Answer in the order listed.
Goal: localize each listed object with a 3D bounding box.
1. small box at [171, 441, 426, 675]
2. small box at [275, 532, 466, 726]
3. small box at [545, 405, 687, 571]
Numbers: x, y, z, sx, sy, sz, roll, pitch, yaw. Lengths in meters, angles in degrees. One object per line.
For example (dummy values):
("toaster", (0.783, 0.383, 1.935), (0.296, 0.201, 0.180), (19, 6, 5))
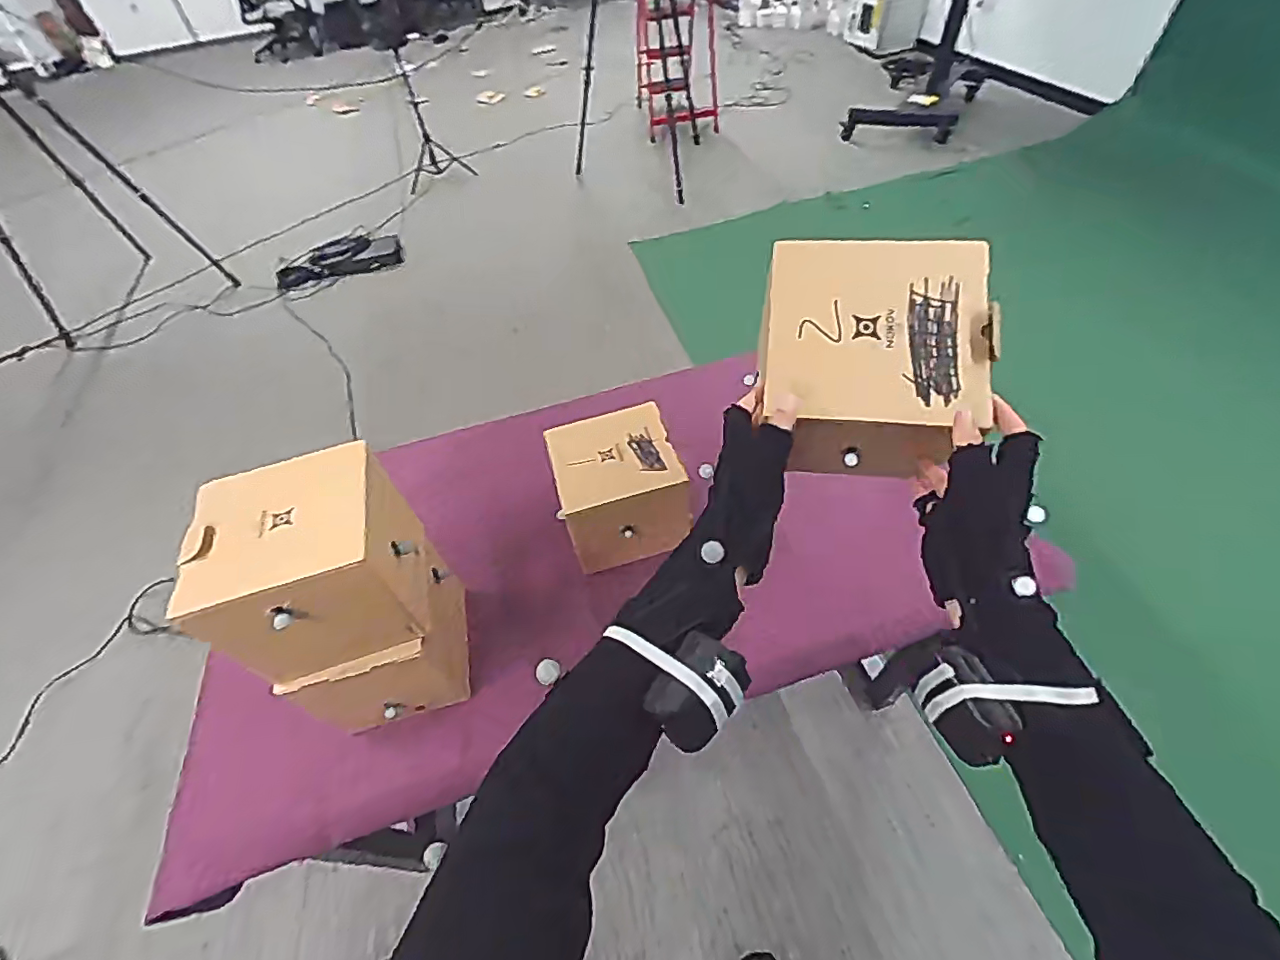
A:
("small box", (-0.350, 0.089, 0.598), (0.179, 0.176, 0.168), (-17, 52, -8))
("small box", (-0.339, 0.199, 0.718), (0.168, 0.176, 0.179), (-14, 52, -5))
("small box", (-0.034, 0.015, 0.835), (0.179, 0.176, 0.168), (-15, 52, -6))
